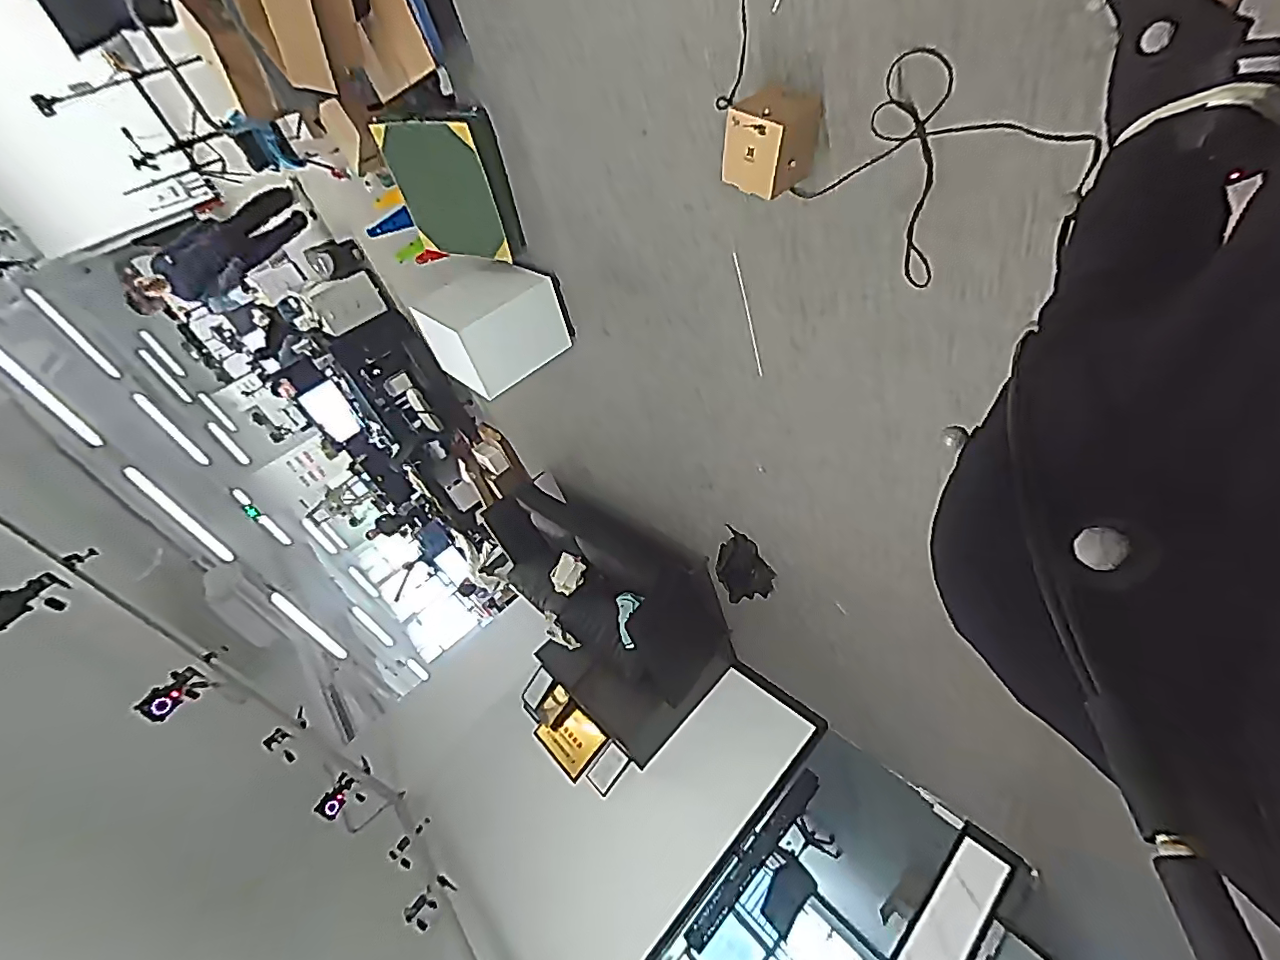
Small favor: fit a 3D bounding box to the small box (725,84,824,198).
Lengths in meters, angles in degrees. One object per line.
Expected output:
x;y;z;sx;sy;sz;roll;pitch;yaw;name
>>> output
0.338;-0.859;1.368;0.168;0.176;0.179;39;155;25;small box
